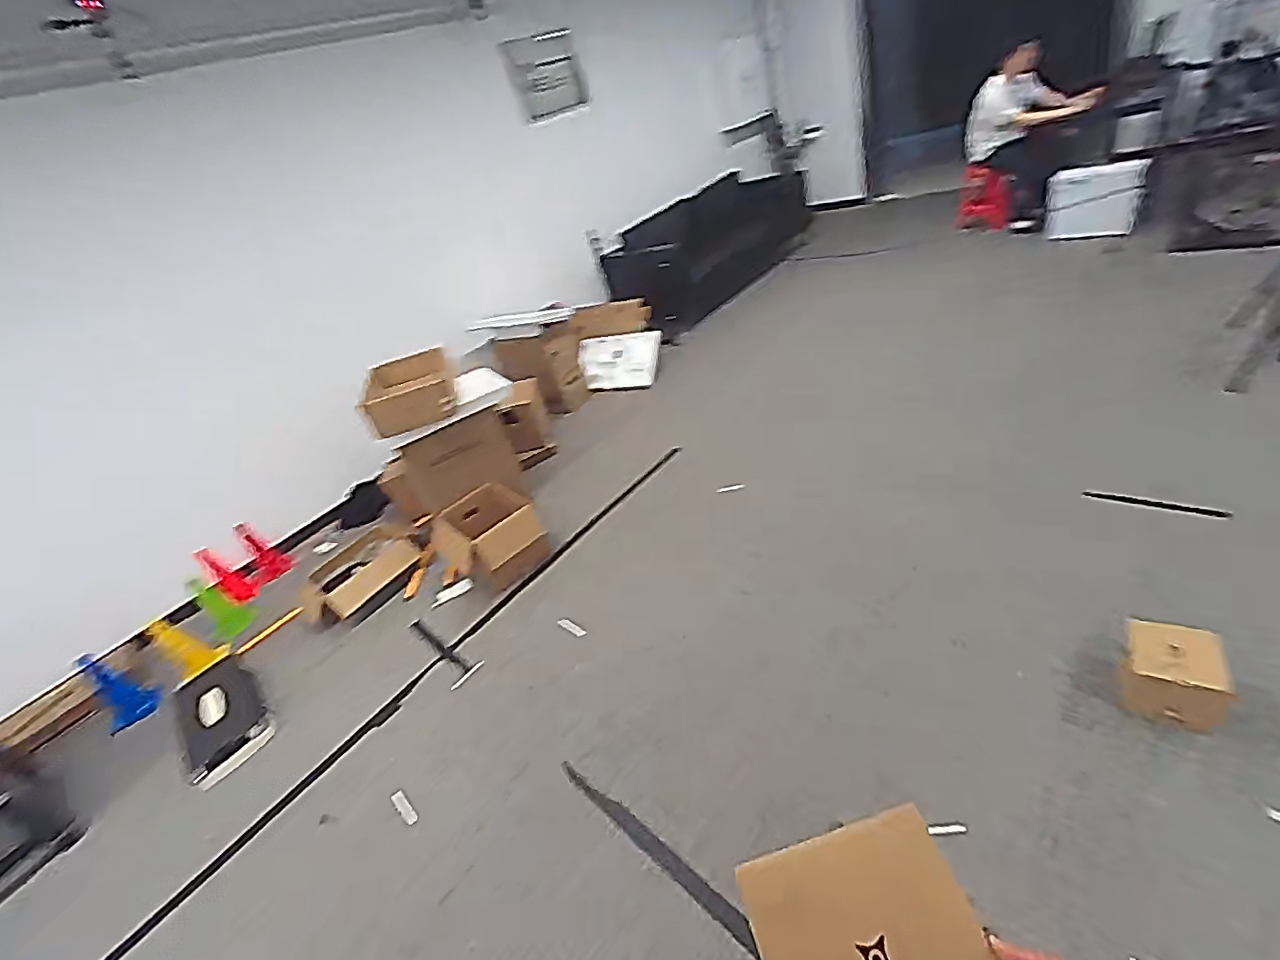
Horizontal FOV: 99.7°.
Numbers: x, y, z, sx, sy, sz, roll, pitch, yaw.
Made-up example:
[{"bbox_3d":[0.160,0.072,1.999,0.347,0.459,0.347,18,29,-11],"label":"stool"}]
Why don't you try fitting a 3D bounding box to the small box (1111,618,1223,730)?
[{"bbox_3d":[1.297,0.479,1.345,0.168,0.176,0.179,4,39,34],"label":"small box"}]
